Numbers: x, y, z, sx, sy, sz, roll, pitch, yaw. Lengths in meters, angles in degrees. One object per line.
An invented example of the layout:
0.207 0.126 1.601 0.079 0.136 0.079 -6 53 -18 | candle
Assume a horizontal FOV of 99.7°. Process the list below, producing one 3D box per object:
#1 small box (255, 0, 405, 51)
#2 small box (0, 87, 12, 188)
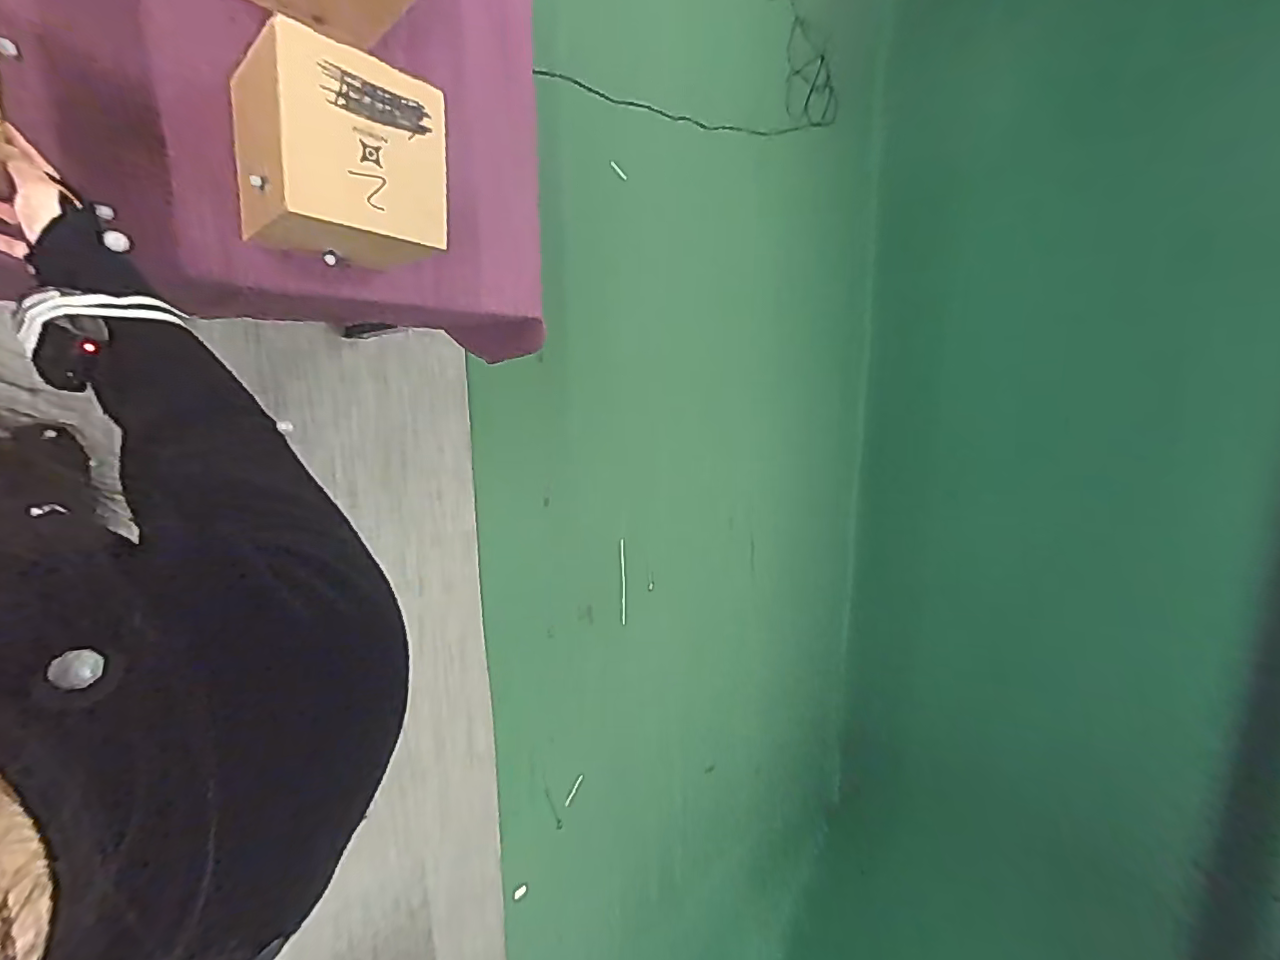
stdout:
-0.347 -0.611 0.571 0.168 0.176 0.179 -6 100 -46 | small box
-0.567 -0.328 0.368 0.168 0.176 0.179 -10 100 -47 | small box
